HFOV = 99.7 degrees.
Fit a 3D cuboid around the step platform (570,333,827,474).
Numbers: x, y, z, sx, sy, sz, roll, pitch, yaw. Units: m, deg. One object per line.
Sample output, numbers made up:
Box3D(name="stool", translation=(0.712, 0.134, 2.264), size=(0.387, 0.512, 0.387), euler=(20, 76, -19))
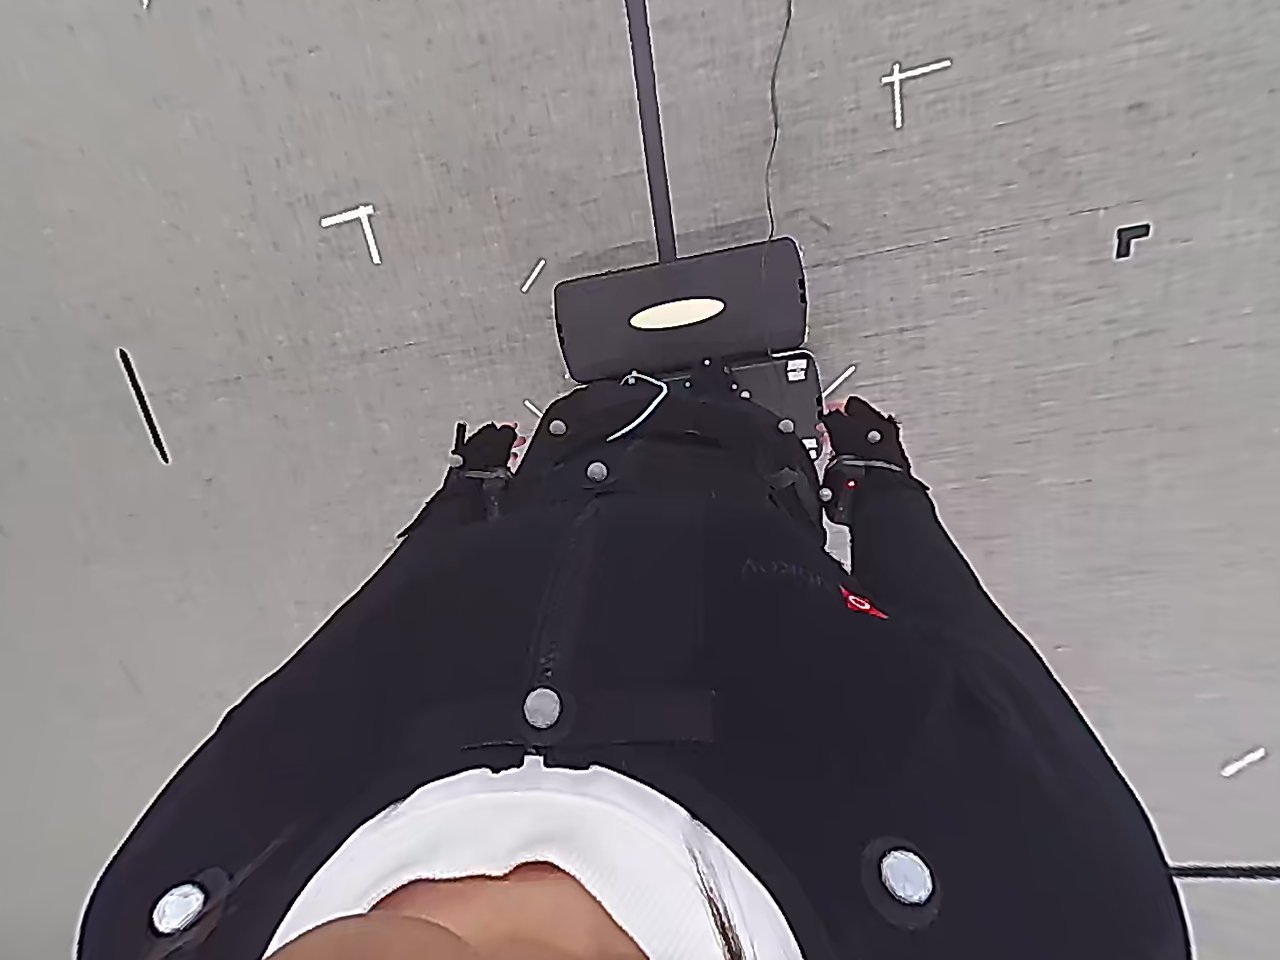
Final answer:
Box3D(name="step platform", translation=(0.154, -0.204, 1.482), size=(0.684, 0.204, 0.286), euler=(-8, 103, 12))
